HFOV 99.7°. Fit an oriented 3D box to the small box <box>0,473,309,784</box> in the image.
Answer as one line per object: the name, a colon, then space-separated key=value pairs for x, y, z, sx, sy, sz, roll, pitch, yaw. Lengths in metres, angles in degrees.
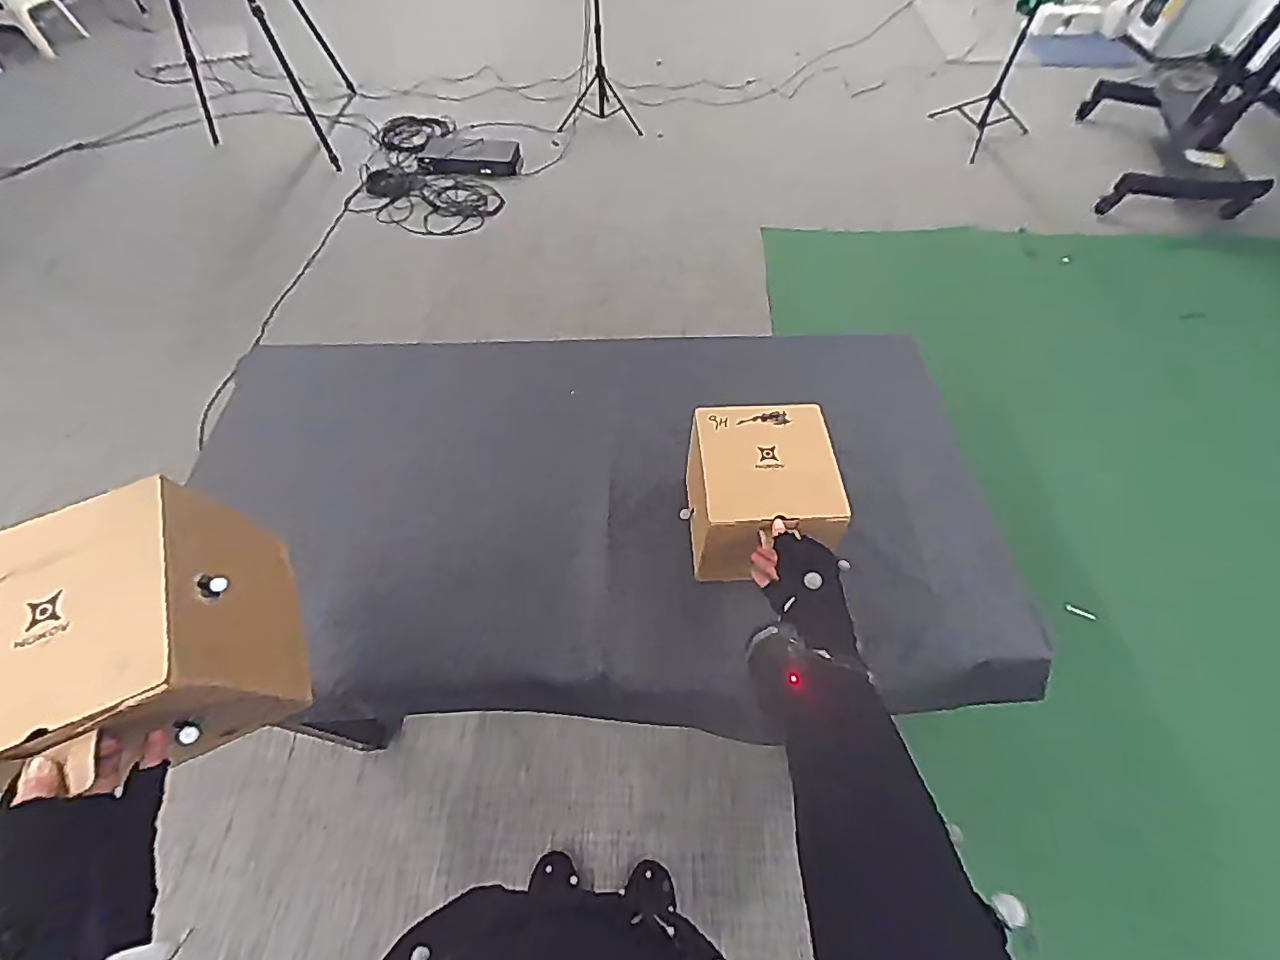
small box: x=-0.409 y=0.129 z=0.450 sx=0.168 sy=0.176 sz=0.179 roll=-23 pitch=64 yaw=-9

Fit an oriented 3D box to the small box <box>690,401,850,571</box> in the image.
small box: x=0.158 y=0.015 z=0.724 sx=0.168 sy=0.176 sz=0.179 roll=-2 pitch=58 yaw=-1
